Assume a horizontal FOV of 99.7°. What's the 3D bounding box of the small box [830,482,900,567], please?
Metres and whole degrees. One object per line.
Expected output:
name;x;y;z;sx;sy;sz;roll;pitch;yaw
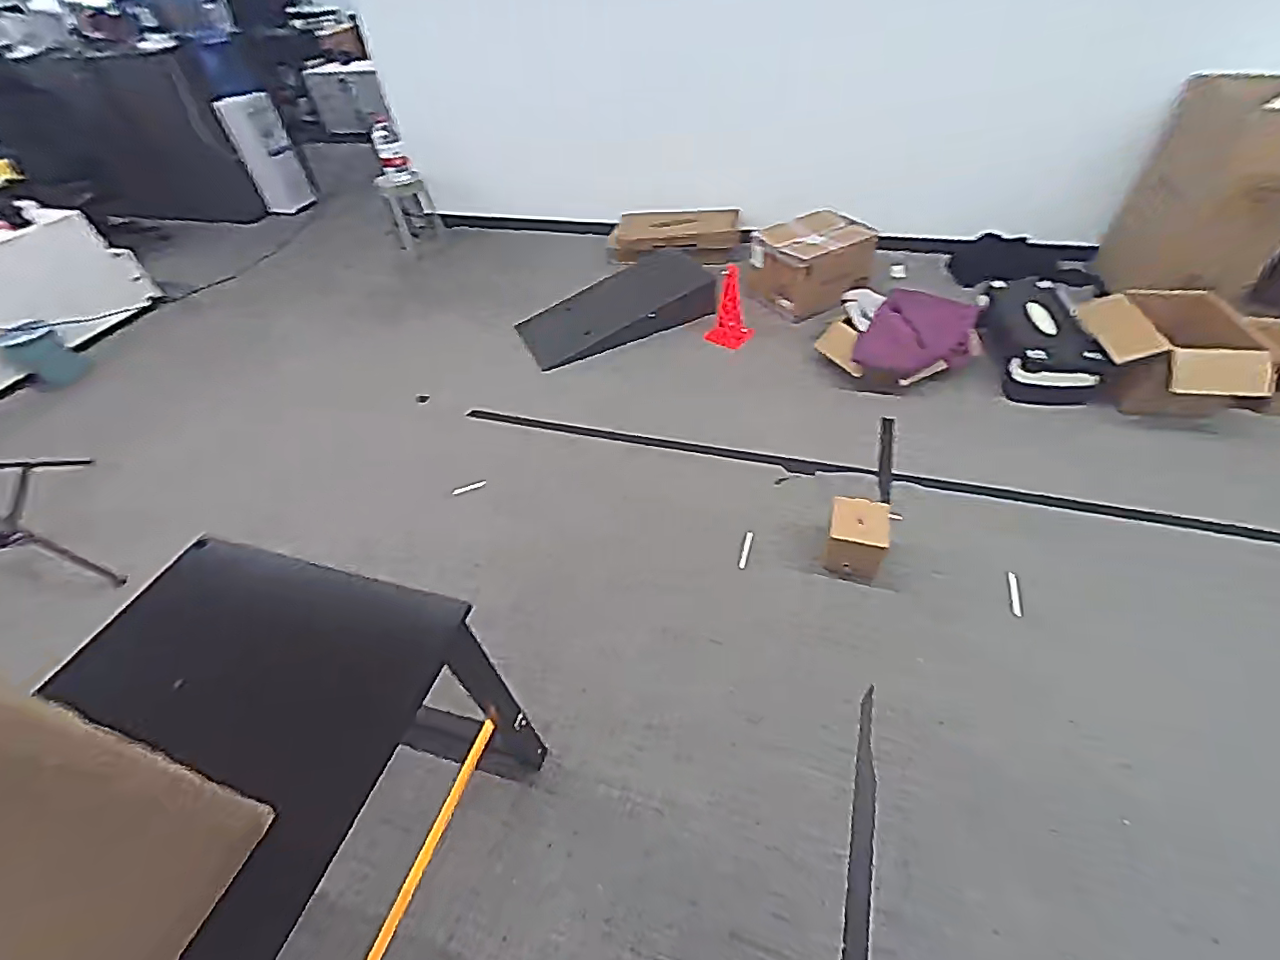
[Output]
small box;0.680;0.134;1.641;0.168;0.176;0.179;9;49;15
